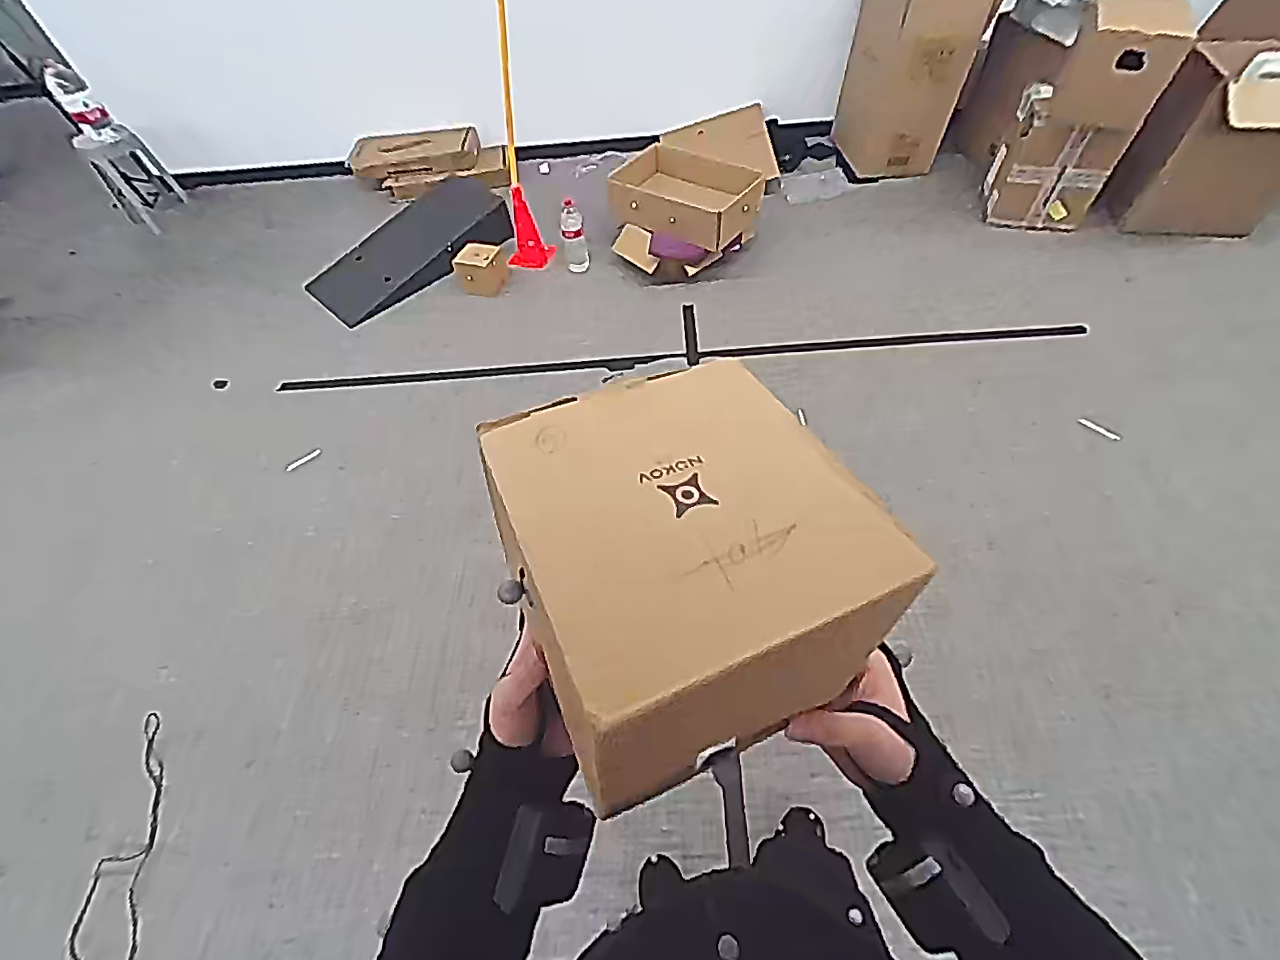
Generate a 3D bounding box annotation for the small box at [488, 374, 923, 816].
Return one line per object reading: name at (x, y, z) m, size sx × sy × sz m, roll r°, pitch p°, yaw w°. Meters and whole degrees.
small box at (0.020, 0.066, 0.334) m, size 0.168 × 0.176 × 0.179 m, roll -20°, pitch 51°, yaw -18°
